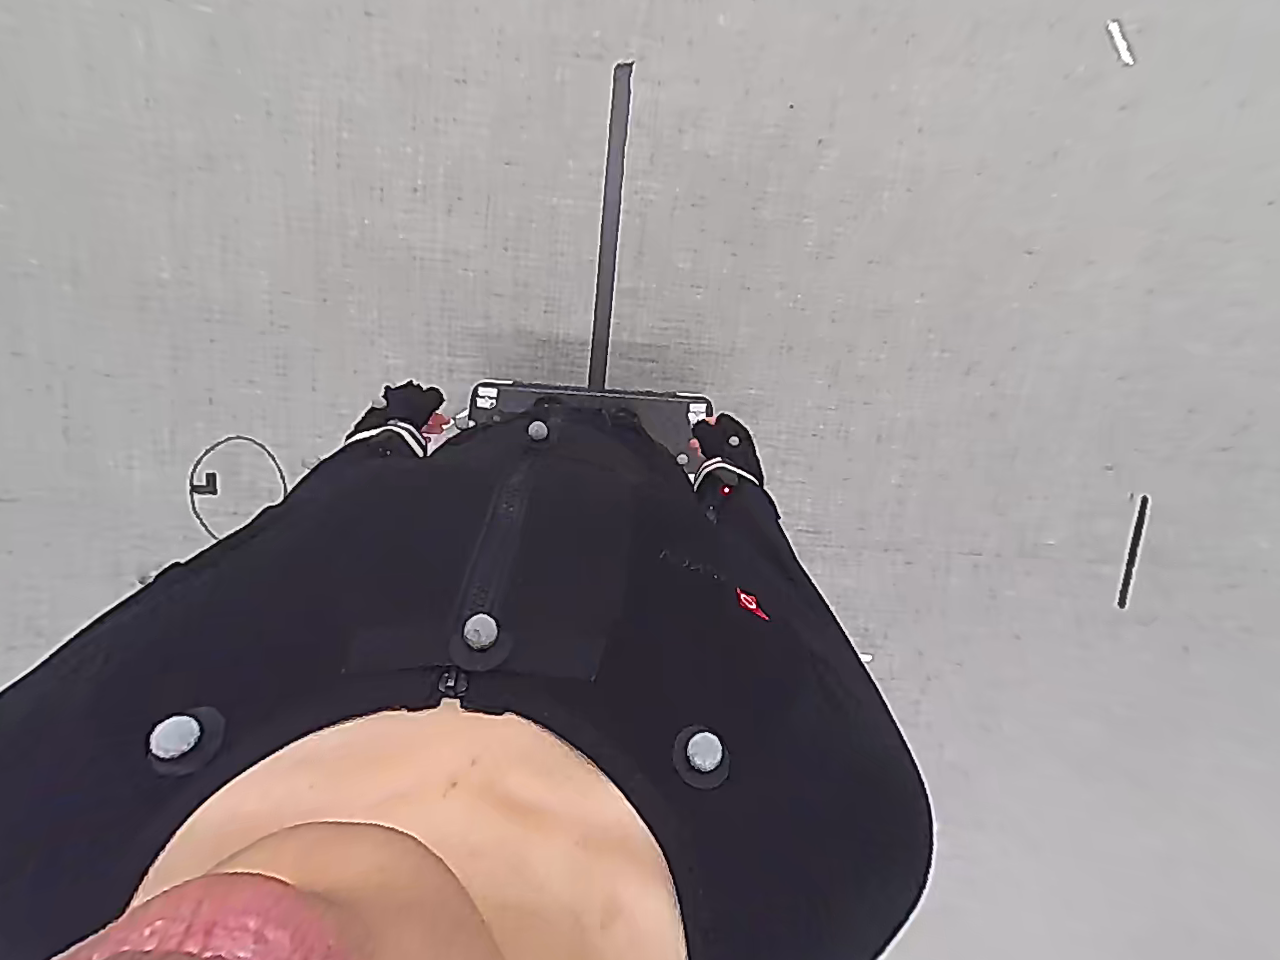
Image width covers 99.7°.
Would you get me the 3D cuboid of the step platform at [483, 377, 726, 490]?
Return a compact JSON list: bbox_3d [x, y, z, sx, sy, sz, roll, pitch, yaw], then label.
[{"bbox_3d":[-0.097,-0.134,1.553,0.684,0.204,0.286,2,100,-5],"label":"step platform"}]
